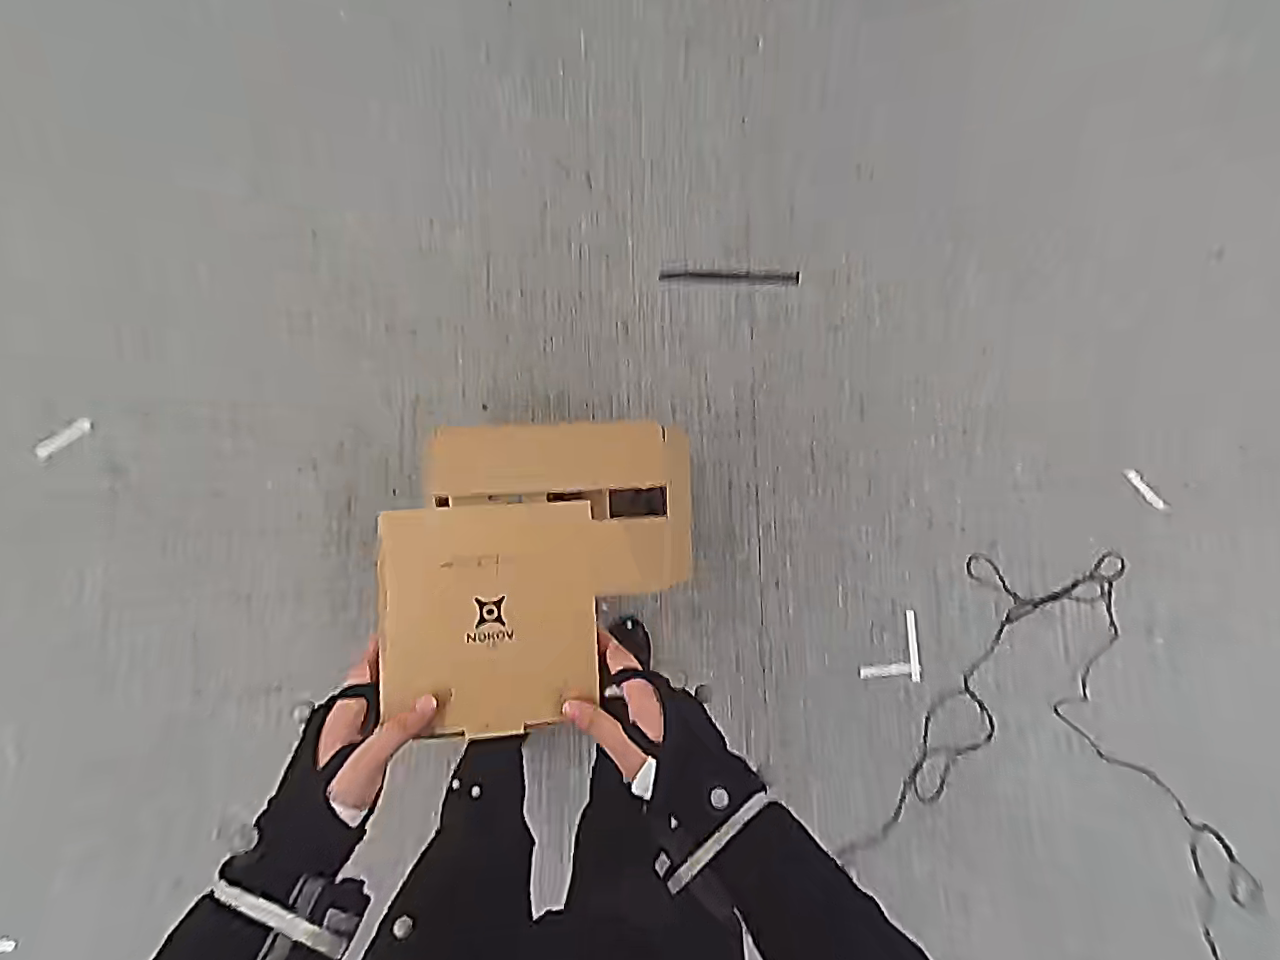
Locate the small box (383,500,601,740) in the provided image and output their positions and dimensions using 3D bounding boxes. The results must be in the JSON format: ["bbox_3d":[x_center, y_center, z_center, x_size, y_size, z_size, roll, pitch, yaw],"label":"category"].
[{"bbox_3d":[-0.126,0.113,0.500,0.168,0.176,0.179,-3,84,-10],"label":"small box"}]
